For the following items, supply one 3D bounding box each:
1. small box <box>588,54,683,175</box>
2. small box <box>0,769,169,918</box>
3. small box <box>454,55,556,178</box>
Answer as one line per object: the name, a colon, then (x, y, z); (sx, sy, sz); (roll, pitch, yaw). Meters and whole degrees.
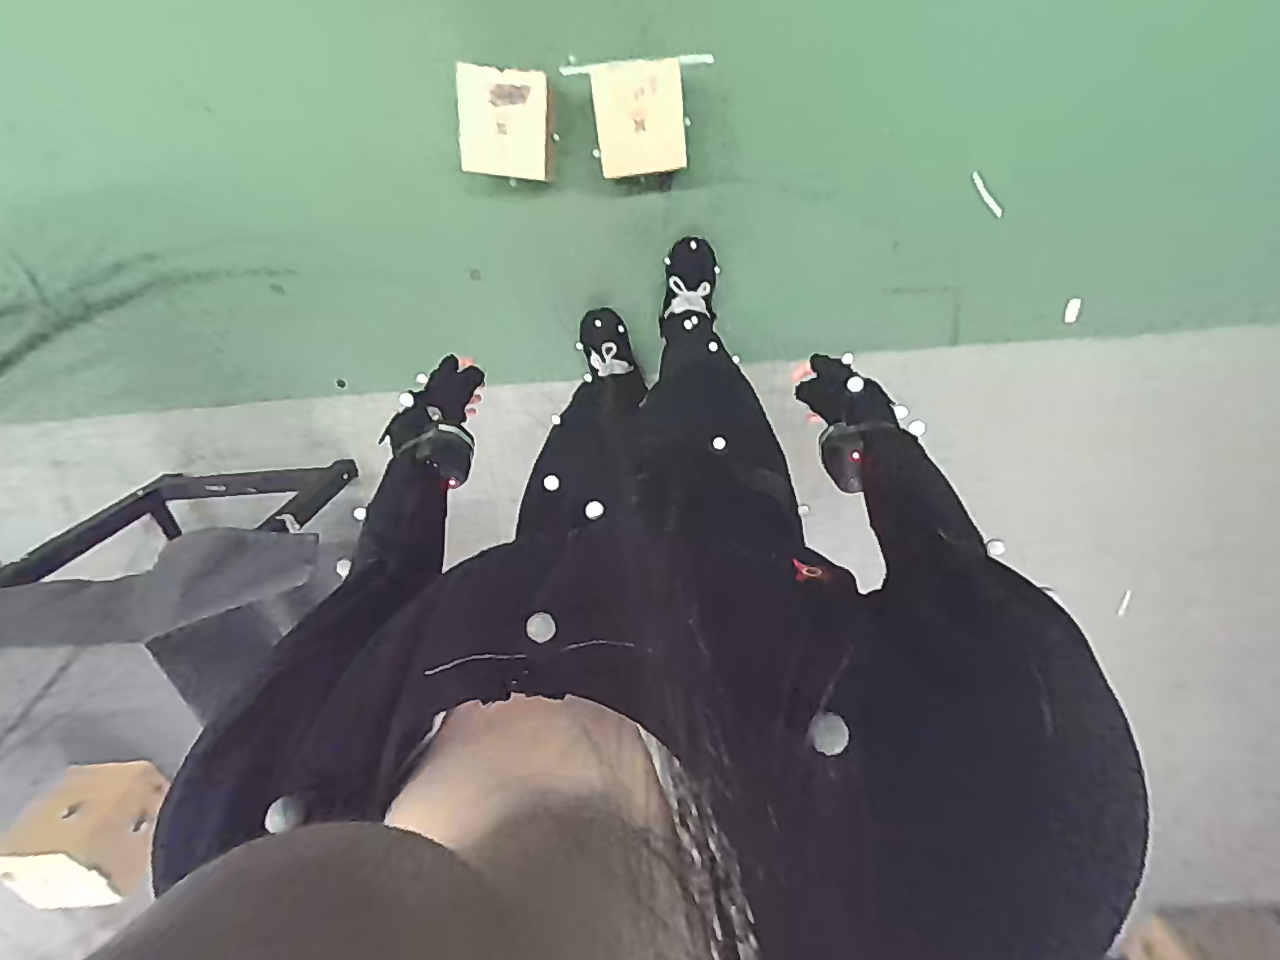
small box: (-0.004, -0.716, 1.078); (0.168, 0.176, 0.179); (-6, 117, 2)
small box: (-1.013, 0.648, 0.976); (0.179, 0.176, 0.168); (-6, 117, 3)
small box: (-0.263, -0.715, 1.081); (0.168, 0.176, 0.179); (6, 118, -2)
